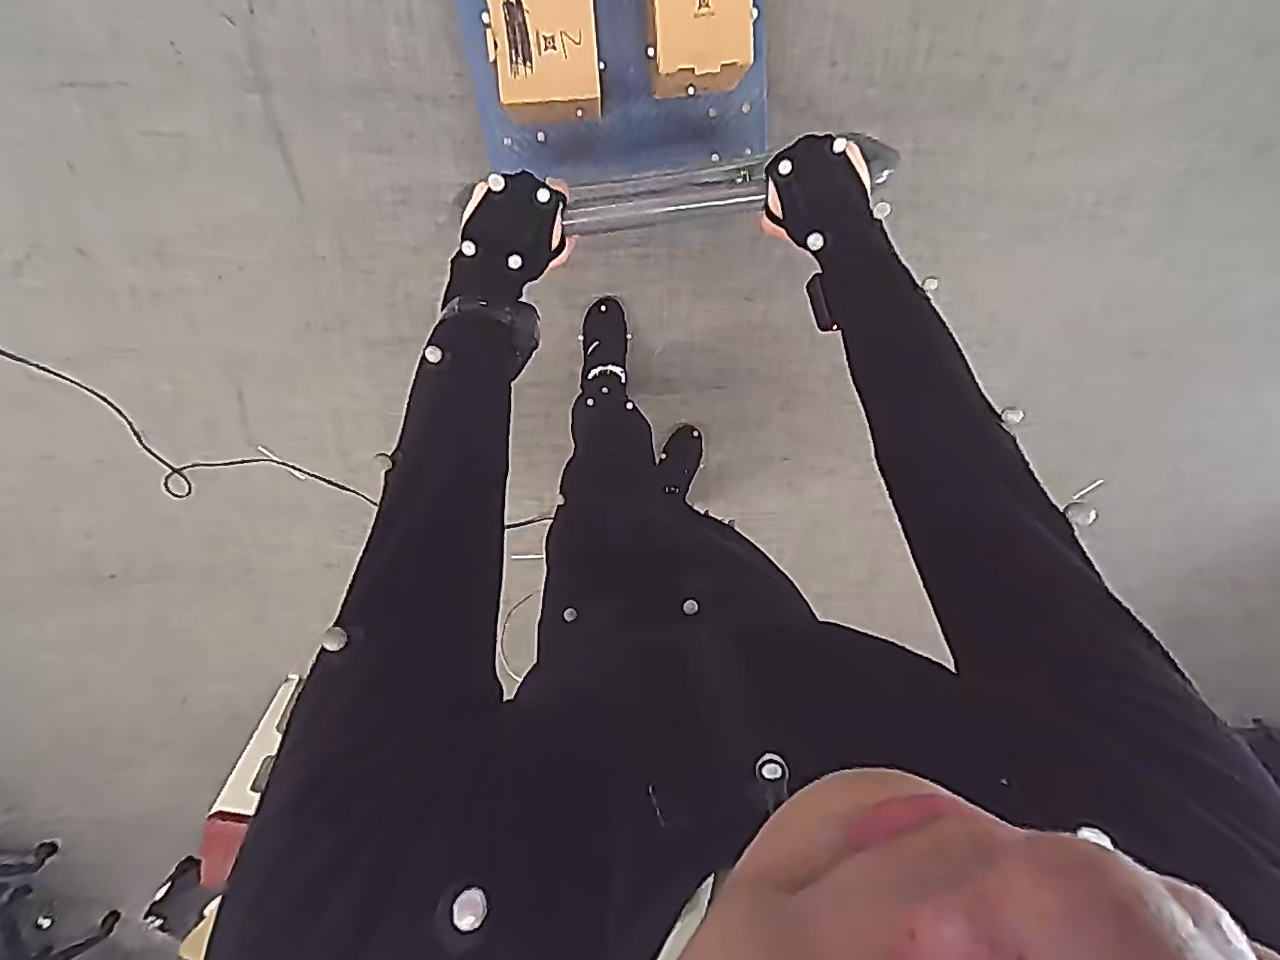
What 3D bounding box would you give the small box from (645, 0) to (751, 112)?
[{"bbox_3d":[0.103,-0.814,1.002,0.168,0.176,0.179,-7,112,0],"label":"small box"}]
